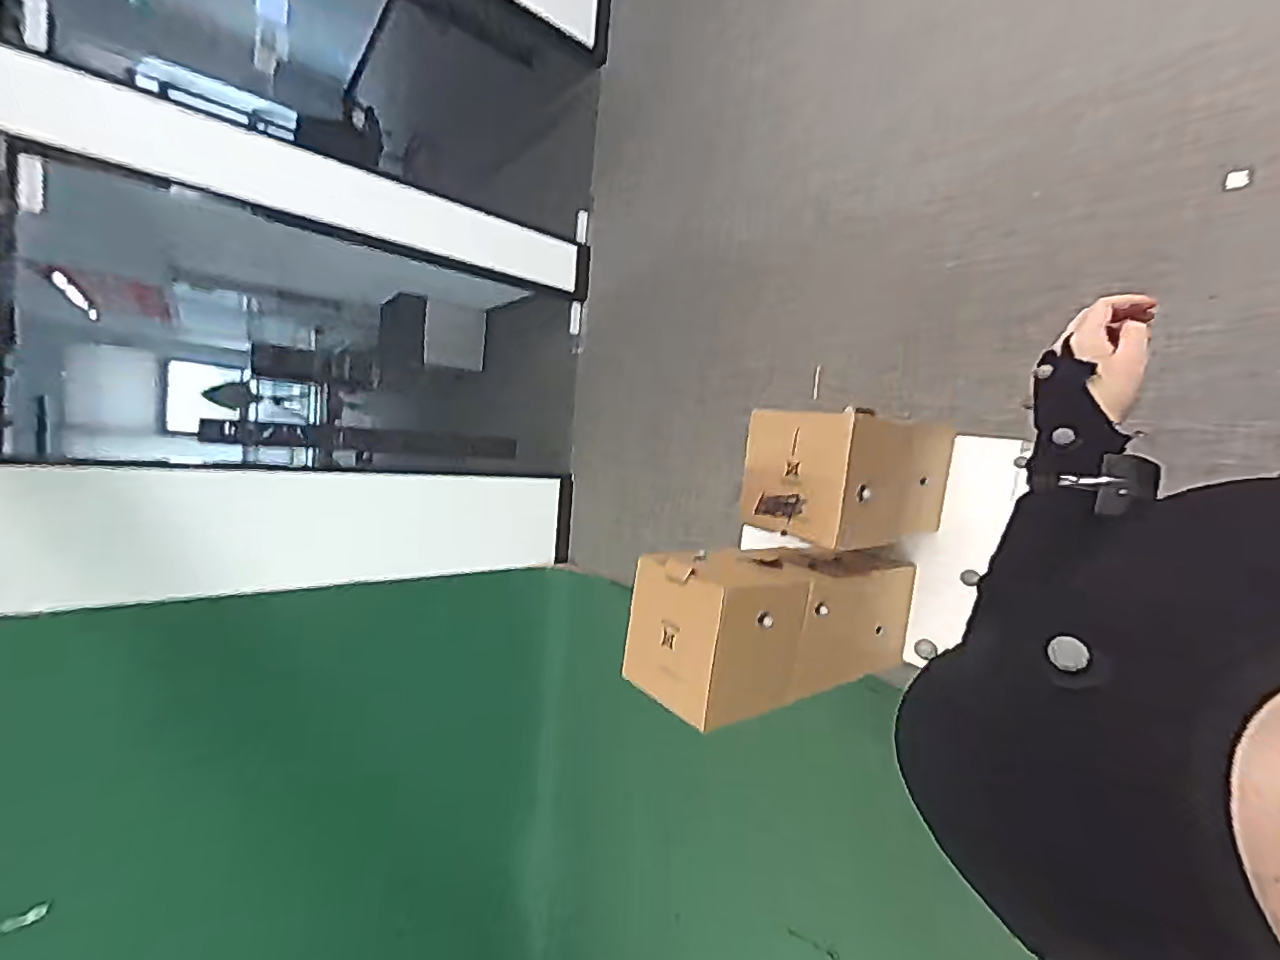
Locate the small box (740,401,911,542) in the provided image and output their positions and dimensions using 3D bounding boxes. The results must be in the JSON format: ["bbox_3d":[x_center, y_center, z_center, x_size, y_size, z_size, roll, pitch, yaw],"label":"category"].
[{"bbox_3d":[0.270,-0.017,0.788,0.168,0.176,0.179,13,99,50],"label":"small box"}]

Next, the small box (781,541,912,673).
[{"bbox_3d":[0.349,0.208,0.942,0.168,0.176,0.179,11,95,50],"label":"small box"}]

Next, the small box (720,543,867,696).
[{"bbox_3d":[0.225,0.201,0.835,0.168,0.176,0.179,14,96,50],"label":"small box"}]

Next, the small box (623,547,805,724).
[{"bbox_3d":[0.101,0.191,0.730,0.168,0.176,0.179,12,96,52],"label":"small box"}]
